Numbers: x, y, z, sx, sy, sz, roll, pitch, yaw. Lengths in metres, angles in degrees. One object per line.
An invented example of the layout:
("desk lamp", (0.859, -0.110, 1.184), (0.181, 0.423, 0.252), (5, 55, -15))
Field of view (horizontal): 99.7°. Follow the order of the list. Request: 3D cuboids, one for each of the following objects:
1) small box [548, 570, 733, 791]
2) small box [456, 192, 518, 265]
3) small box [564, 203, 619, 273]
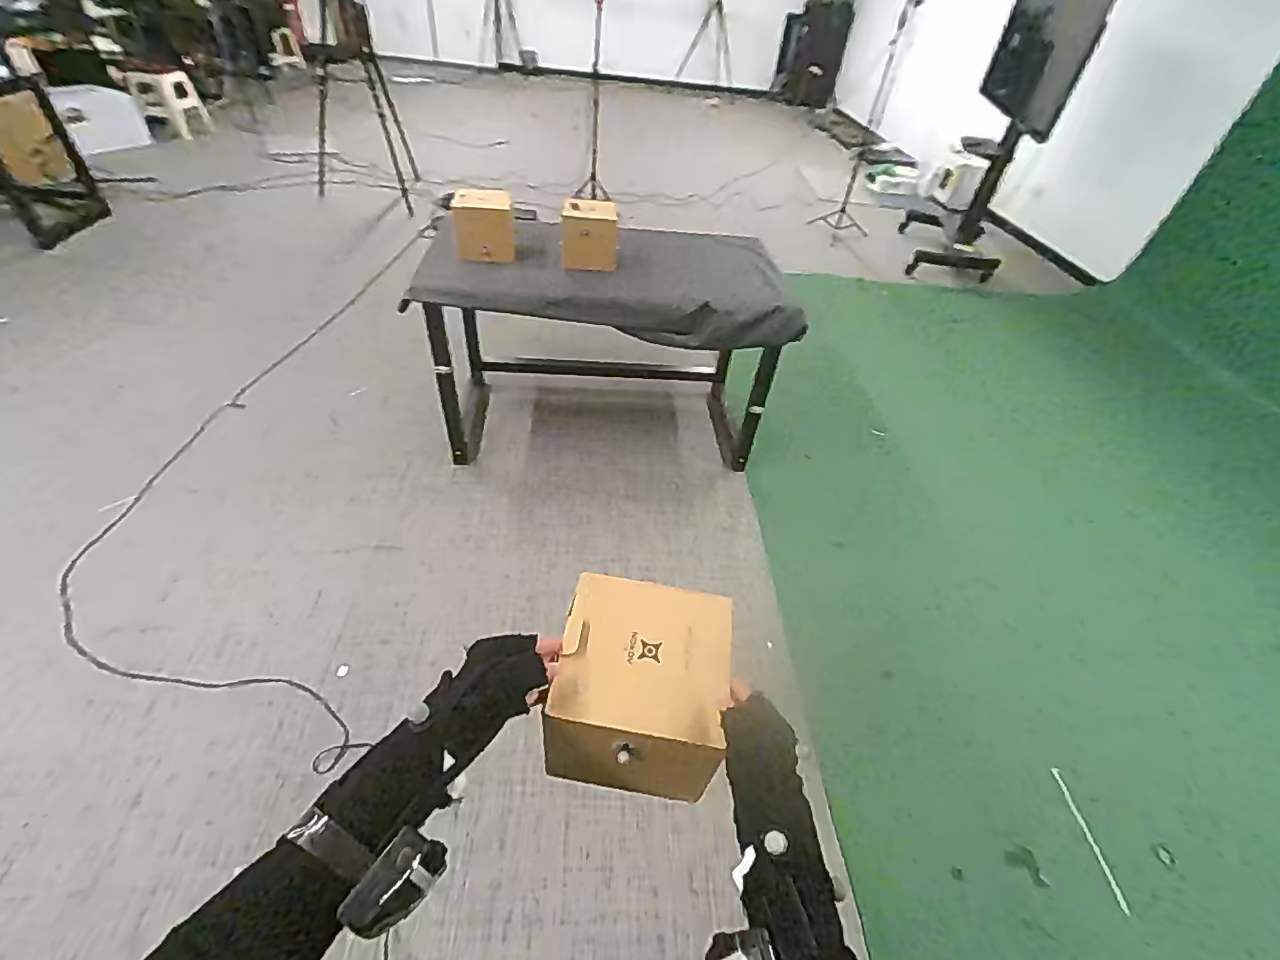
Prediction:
("small box", (0.000, 0.228, 0.610), (0.179, 0.176, 0.168), (10, 45, 0))
("small box", (-0.495, -0.821, 1.771), (0.179, 0.176, 0.168), (0, 44, -9))
("small box", (-0.163, -0.804, 1.801), (0.179, 0.176, 0.168), (2, 44, -7))
